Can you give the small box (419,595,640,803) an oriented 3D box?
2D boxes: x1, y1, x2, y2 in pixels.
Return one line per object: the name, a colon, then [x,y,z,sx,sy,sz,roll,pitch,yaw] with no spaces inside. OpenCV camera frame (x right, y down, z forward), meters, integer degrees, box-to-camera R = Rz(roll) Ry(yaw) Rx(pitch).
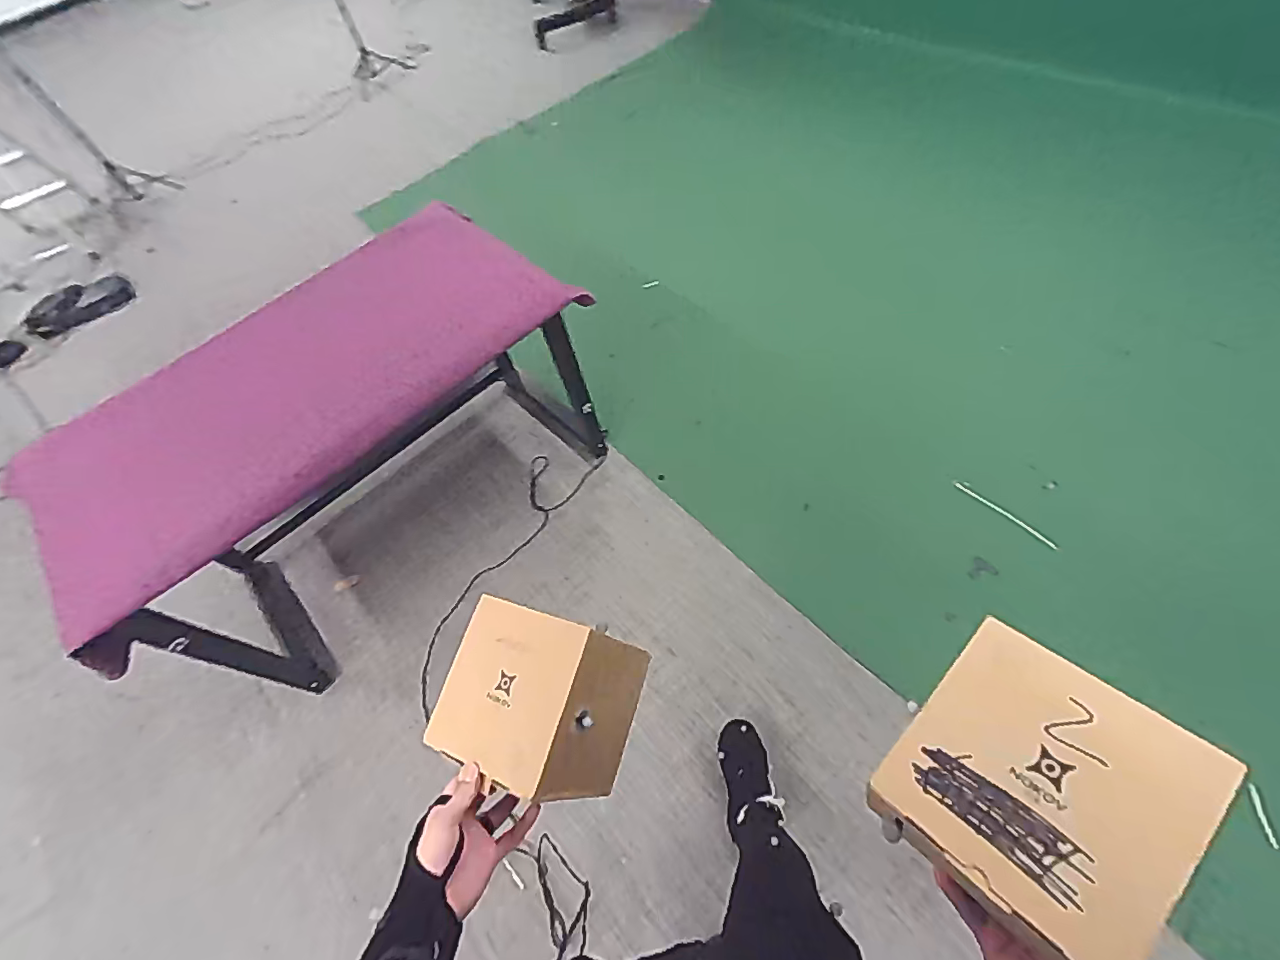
small box: [-0.120,0.260,0.652,0.168,0.176,0.179,8,68,30]
